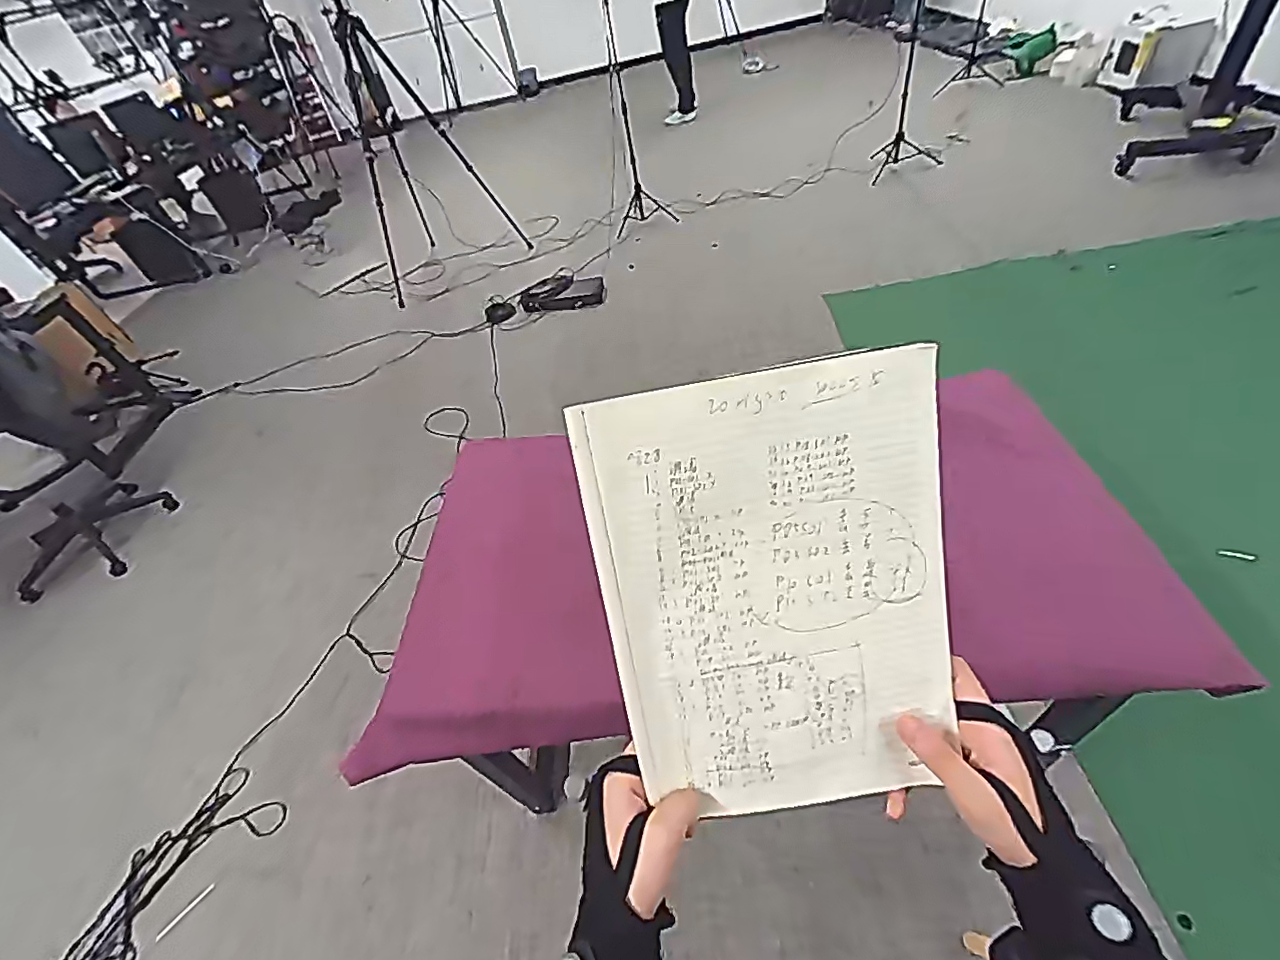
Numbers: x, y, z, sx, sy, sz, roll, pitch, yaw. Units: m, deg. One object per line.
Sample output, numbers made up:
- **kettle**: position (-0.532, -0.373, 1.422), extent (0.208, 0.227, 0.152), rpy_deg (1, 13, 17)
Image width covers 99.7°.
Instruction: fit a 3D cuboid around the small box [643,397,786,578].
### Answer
- **small box**: position (0.099, 0.017, 0.724), extent (0.168, 0.176, 0.179), rpy_deg (-8, 44, 7)
